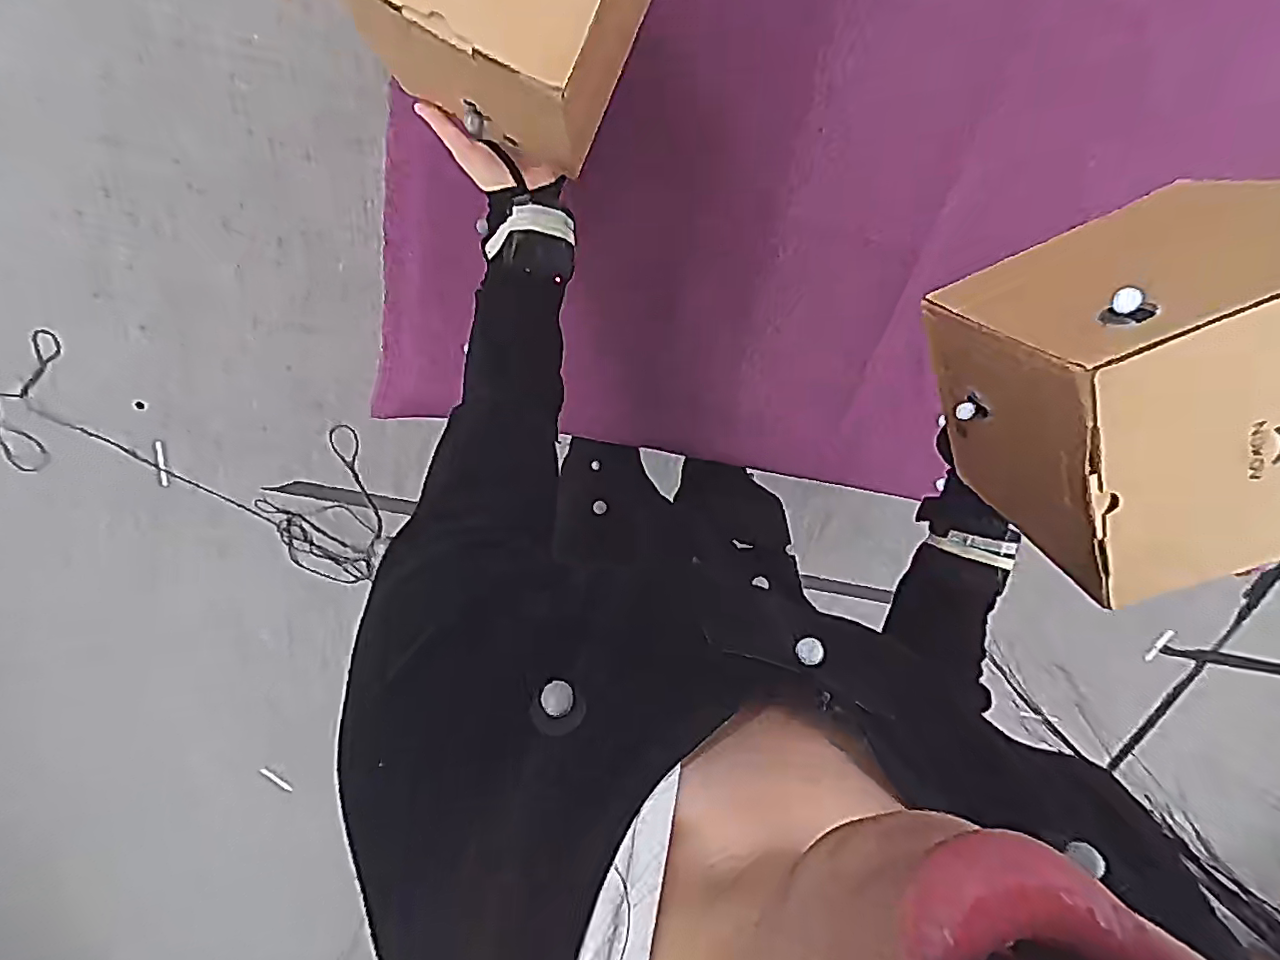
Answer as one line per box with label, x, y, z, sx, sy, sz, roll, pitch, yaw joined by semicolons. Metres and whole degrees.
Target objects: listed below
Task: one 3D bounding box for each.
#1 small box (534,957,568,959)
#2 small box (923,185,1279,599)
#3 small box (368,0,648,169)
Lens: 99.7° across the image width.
small box;-0.278;1.678;1.741;0.168;0.176;0.179;4;117;-2
small box;0.315;-0.064;0.339;0.179;0.176;0.168;-23;118;12
small box;-0.087;-0.372;0.393;0.168;0.176;0.179;24;100;-9
